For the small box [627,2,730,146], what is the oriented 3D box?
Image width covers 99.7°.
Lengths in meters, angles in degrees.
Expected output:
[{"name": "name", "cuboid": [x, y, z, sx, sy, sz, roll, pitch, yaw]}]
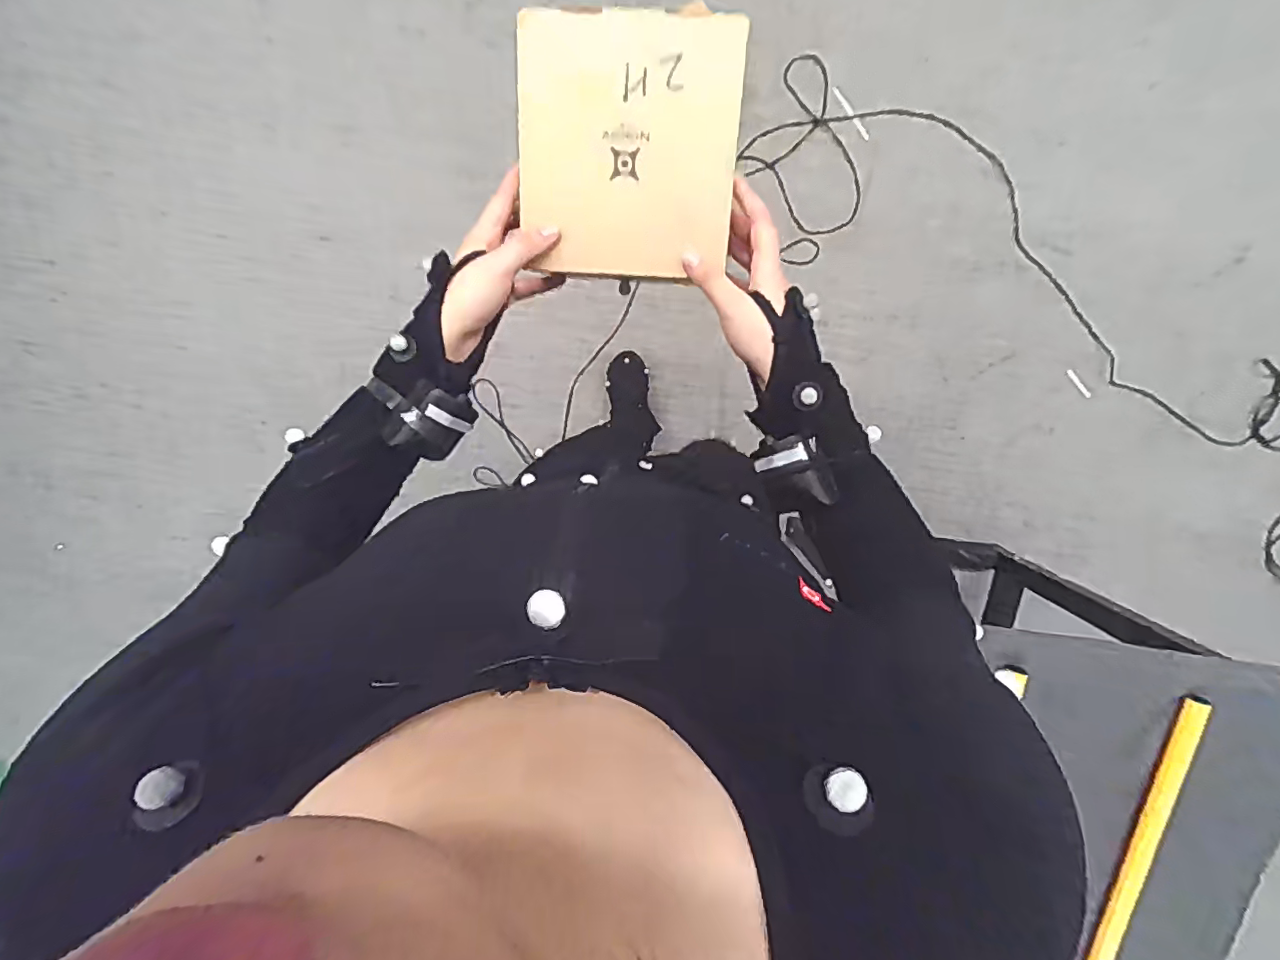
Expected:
[{"name": "small box", "cuboid": [0.087, -0.911, 1.235, 0.179, 0.176, 0.168, -27, 97, 7]}]
